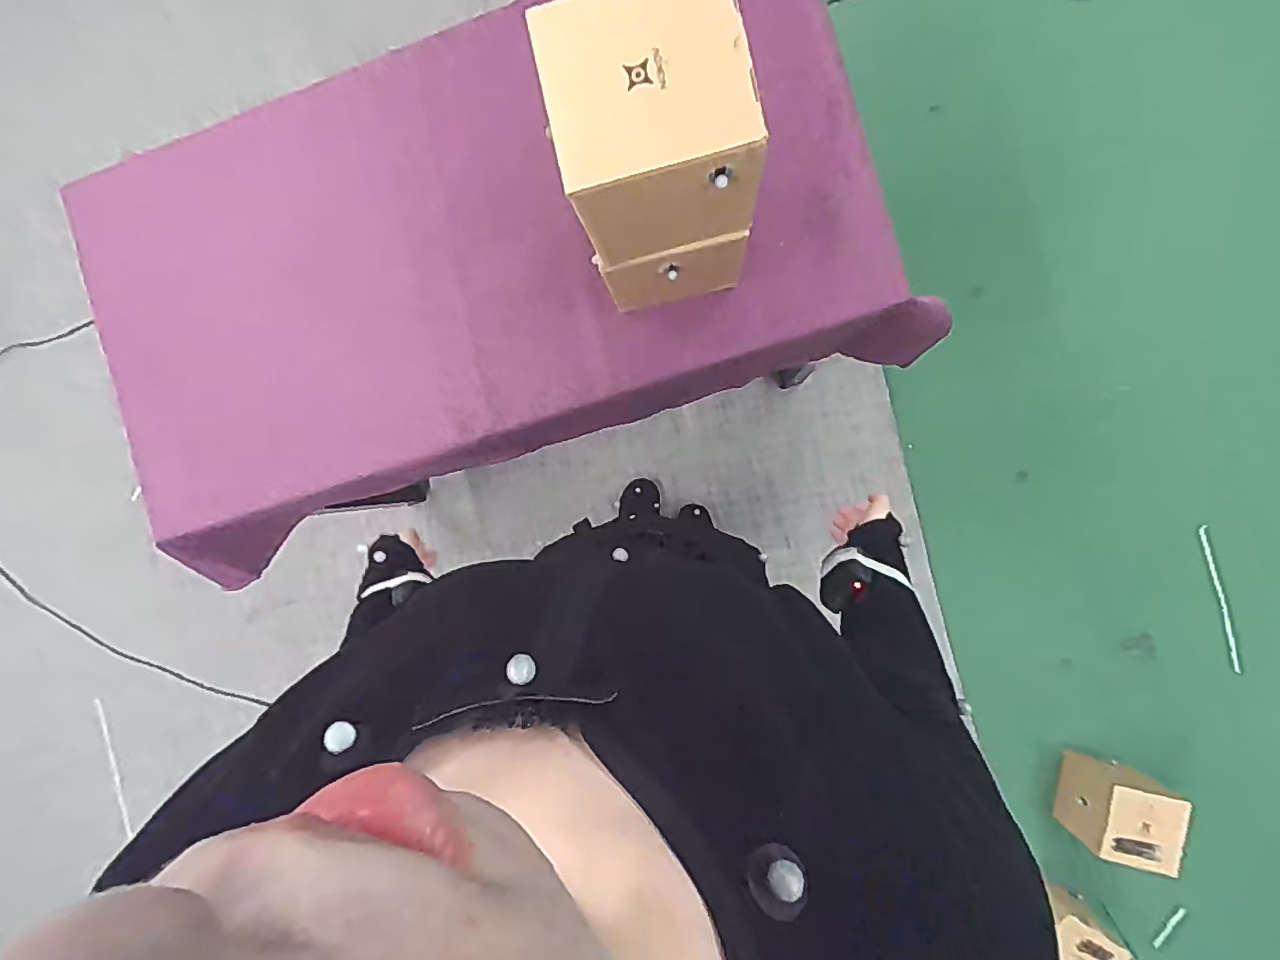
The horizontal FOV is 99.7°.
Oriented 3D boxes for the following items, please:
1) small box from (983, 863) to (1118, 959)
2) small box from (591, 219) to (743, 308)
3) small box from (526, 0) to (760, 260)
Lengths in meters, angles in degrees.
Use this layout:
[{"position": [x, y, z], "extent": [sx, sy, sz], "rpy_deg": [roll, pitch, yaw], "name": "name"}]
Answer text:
[{"position": [0.994, 1.106, 1.331], "extent": [0.168, 0.176, 0.179], "rpy_deg": [32, 94, 4], "name": "small box"}, {"position": [0.029, -0.337, 0.695], "extent": [0.179, 0.176, 0.168], "rpy_deg": [-10, 90, 6], "name": "small box"}, {"position": [0.010, -0.341, 0.534], "extent": [0.179, 0.176, 0.168], "rpy_deg": [-12, 90, 6], "name": "small box"}]
